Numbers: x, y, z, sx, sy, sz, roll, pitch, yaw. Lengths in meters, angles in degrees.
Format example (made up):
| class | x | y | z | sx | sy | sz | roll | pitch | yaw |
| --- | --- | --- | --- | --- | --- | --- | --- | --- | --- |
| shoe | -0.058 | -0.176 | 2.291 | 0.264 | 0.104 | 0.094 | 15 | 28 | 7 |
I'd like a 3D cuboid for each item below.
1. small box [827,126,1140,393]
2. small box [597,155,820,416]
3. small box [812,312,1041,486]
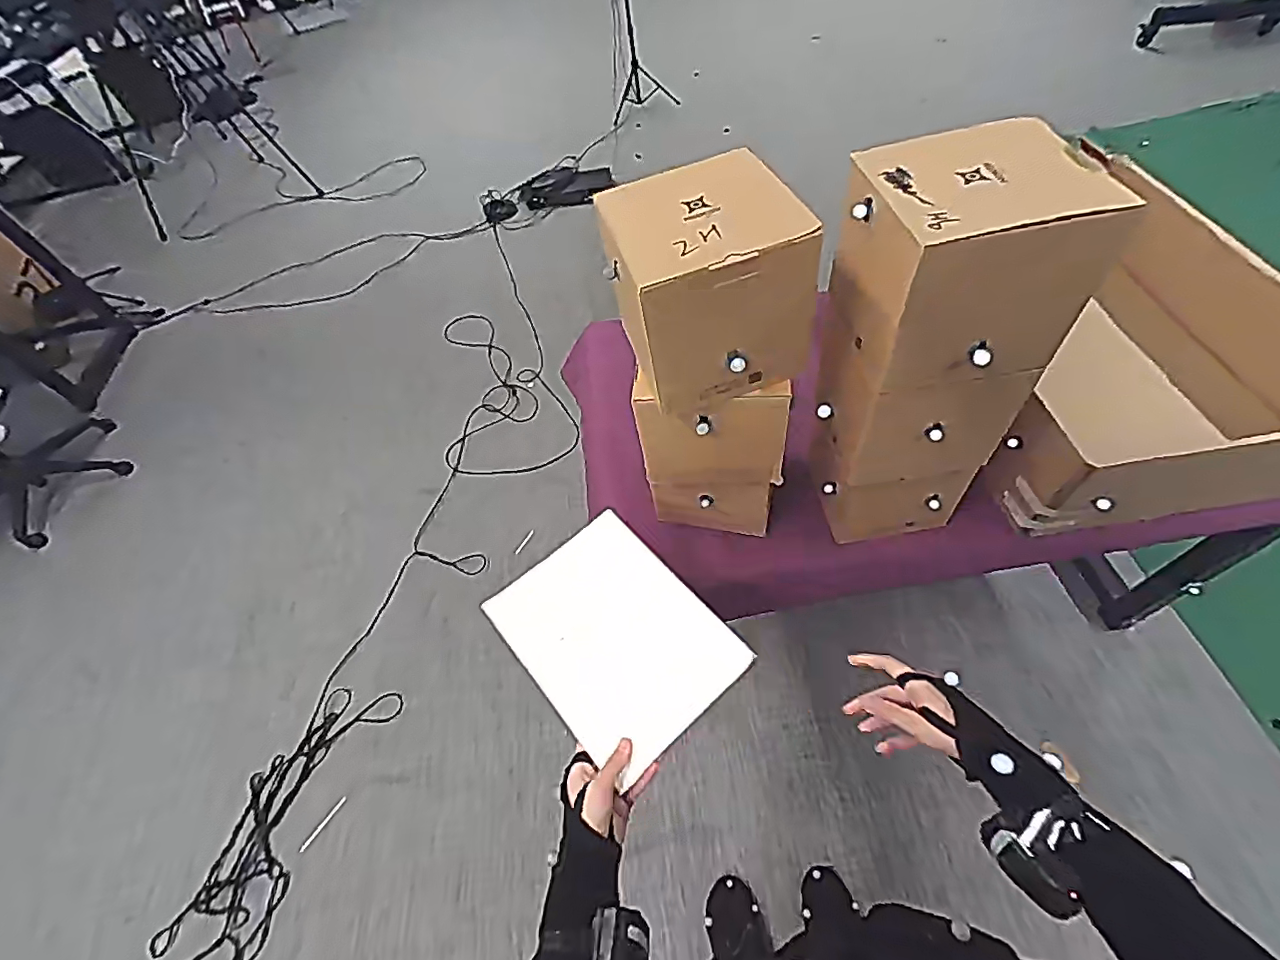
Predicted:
| class | x | y | z | sx | sy | sz | roll | pitch | yaw |
| --- | --- | --- | --- | --- | --- | --- | --- | --- | --- |
| small box | 0.303 | -0.208 | 0.529 | 0.179 | 0.176 | 0.168 | -9 | 52 | 2 |
| small box | 0.066 | -0.199 | 0.567 | 0.168 | 0.176 | 0.179 | -18 | 54 | -2 |
| small box | 0.326 | -0.113 | 0.661 | 0.179 | 0.176 | 0.168 | -10 | 53 | 3 |
